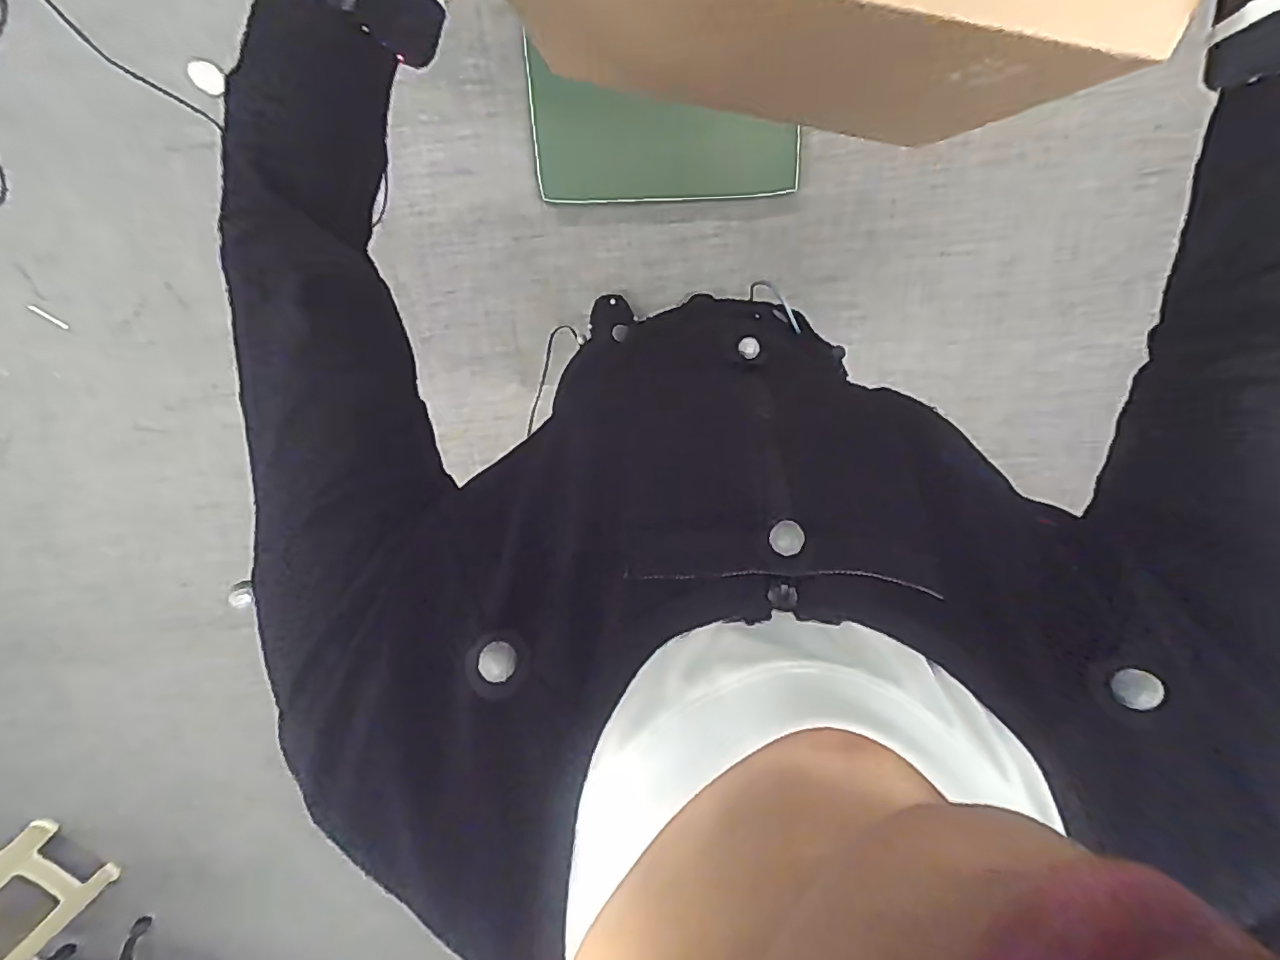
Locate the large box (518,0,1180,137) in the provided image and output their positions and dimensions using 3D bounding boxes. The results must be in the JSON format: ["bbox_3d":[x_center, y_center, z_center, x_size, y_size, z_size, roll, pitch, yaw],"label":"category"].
[{"bbox_3d":[0.124,-0.472,0.374,0.408,0.320,0.320,9,114,-3],"label":"large box"}]
